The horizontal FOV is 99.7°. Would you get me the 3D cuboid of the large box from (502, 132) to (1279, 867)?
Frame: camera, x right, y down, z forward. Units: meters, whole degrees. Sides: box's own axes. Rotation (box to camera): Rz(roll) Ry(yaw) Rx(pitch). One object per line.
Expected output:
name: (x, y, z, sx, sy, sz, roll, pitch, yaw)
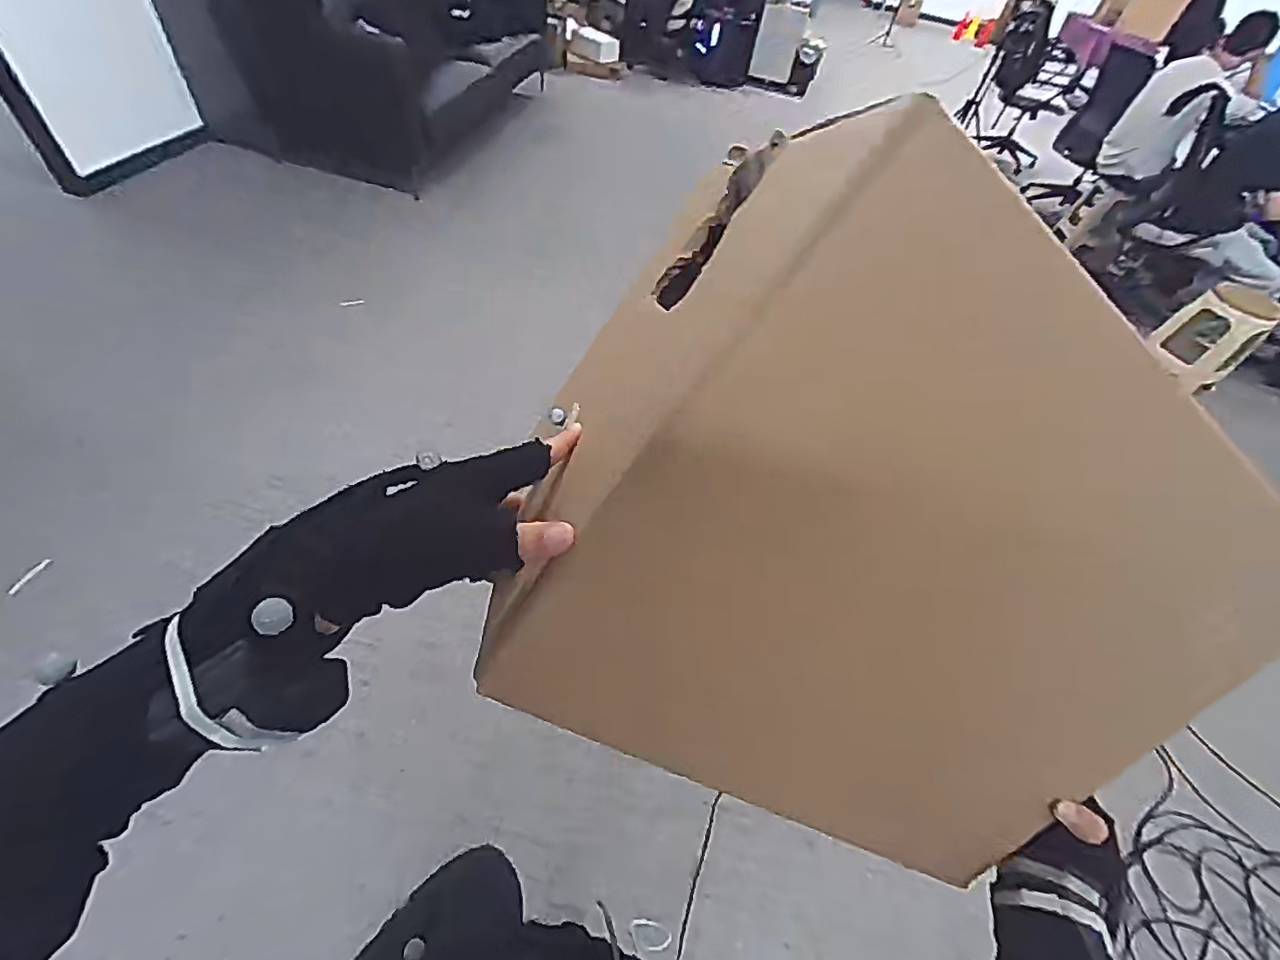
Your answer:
large box: (0.149, 0.025, 0.436, 0.408, 0.320, 0.320, 33, 18, -20)
